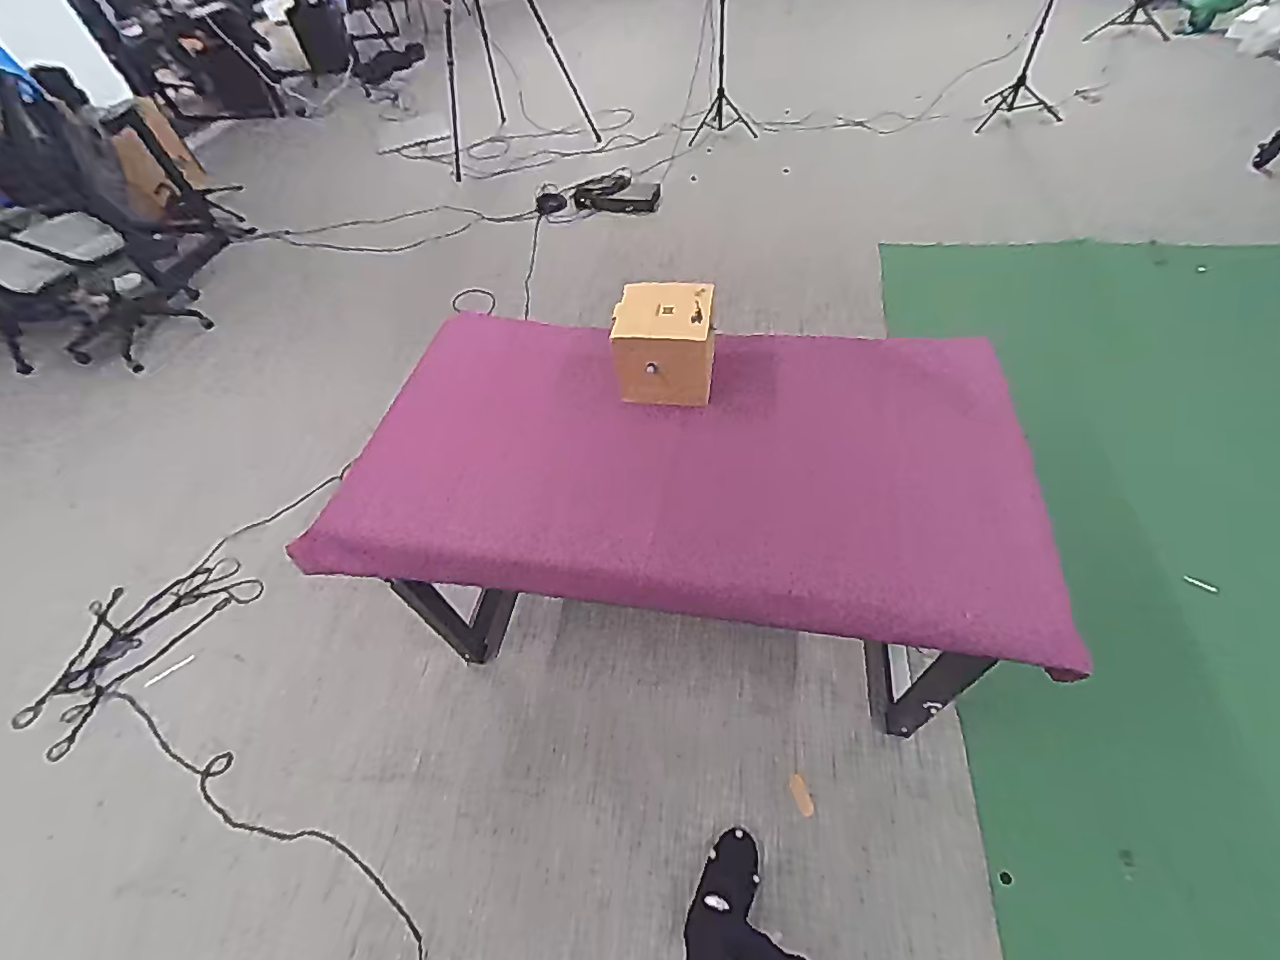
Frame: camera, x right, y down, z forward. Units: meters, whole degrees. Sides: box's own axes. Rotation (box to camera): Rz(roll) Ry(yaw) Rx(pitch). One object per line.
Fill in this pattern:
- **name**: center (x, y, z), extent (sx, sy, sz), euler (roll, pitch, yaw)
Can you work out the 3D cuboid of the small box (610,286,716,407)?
- **small box**: center (0.054, -0.258, 1.056), extent (0.179, 0.176, 0.168), euler (4, 55, 11)
